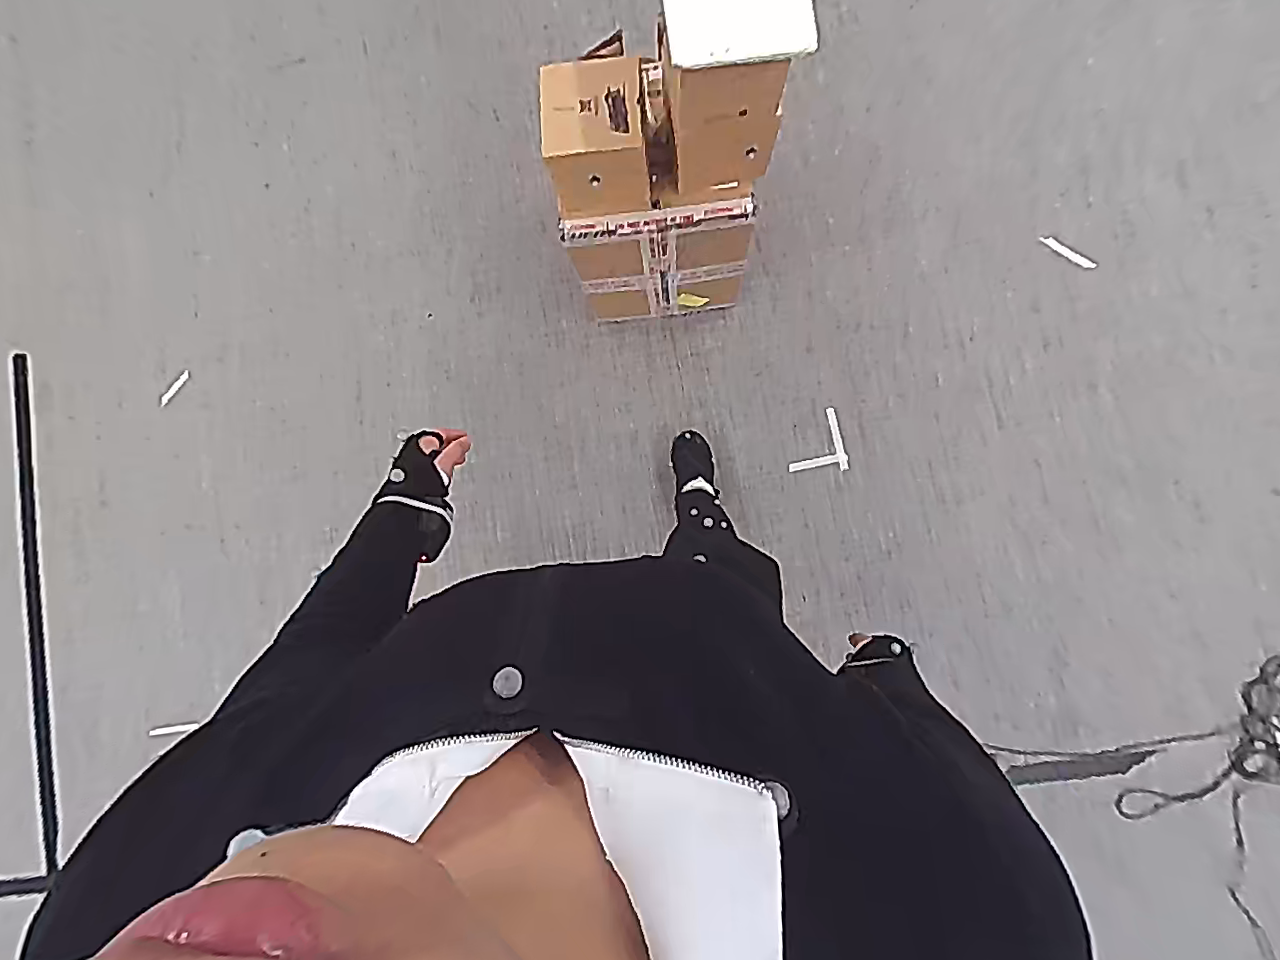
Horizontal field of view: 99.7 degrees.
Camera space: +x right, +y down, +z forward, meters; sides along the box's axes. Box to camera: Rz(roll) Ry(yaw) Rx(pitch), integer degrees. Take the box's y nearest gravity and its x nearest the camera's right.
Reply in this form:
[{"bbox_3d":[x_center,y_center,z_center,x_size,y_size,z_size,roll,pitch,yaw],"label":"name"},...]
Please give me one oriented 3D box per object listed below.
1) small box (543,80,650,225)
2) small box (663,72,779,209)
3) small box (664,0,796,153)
[{"bbox_3d":[-0.073,-0.602,1.014,0.179,0.176,0.168,-2,87,6],"label":"small box"},{"bbox_3d":[0.141,-0.635,1.000,0.179,0.176,0.168,-11,86,3],"label":"small box"},{"bbox_3d":[0.129,-0.653,0.838,0.168,0.176,0.179,-9,85,2],"label":"small box"}]
